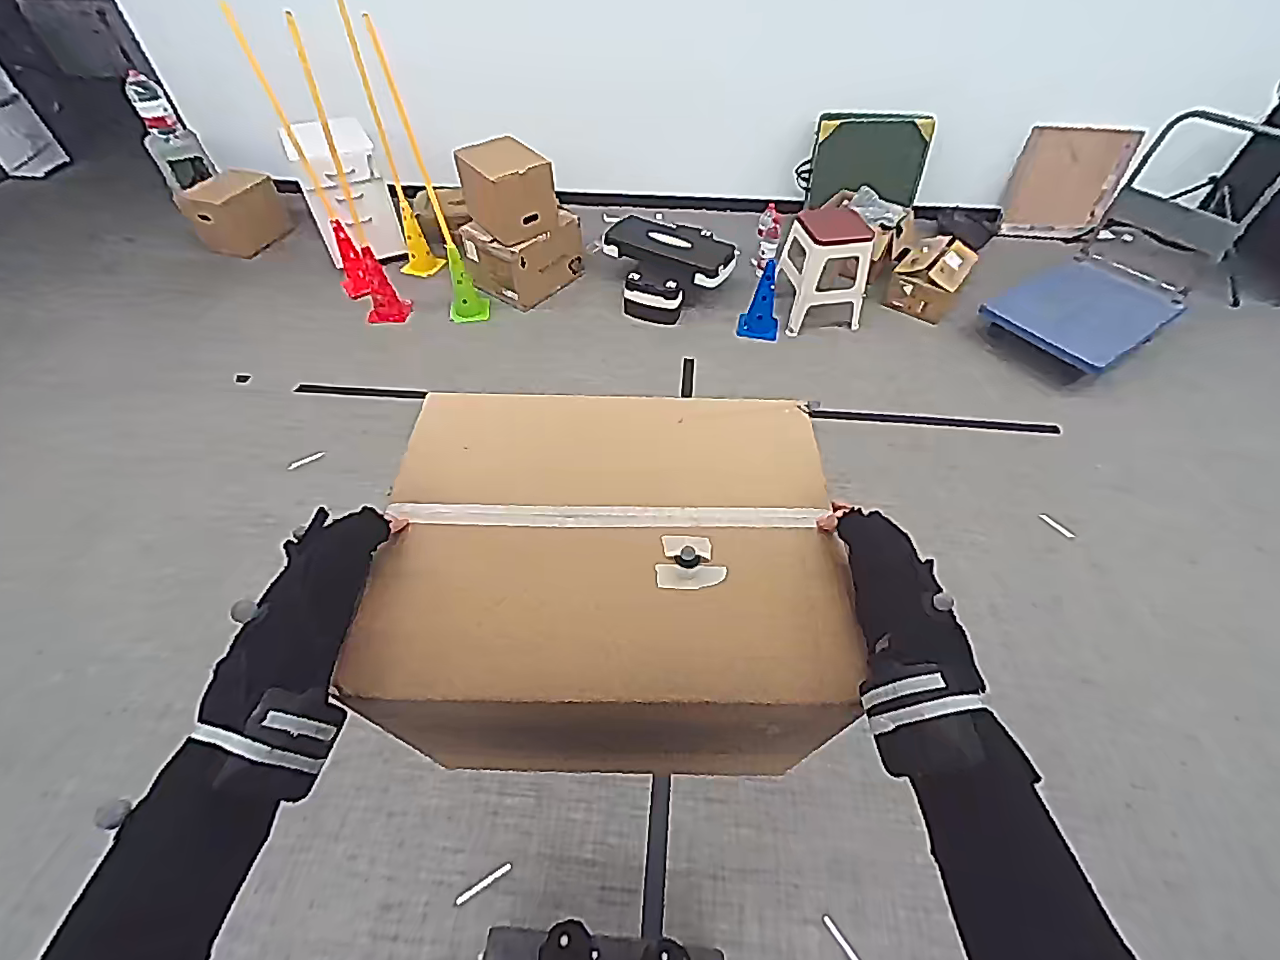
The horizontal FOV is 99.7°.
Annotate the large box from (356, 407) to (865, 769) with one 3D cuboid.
[{"bbox_3d":[-0.025,0.133,0.622,0.408,0.320,0.320,1,53,0],"label":"large box"}]

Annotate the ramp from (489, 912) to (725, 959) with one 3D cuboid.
[{"bbox_3d":[-0.100,1.368,0.902,0.509,0.206,0.991,3,51,1],"label":"ramp"}]
